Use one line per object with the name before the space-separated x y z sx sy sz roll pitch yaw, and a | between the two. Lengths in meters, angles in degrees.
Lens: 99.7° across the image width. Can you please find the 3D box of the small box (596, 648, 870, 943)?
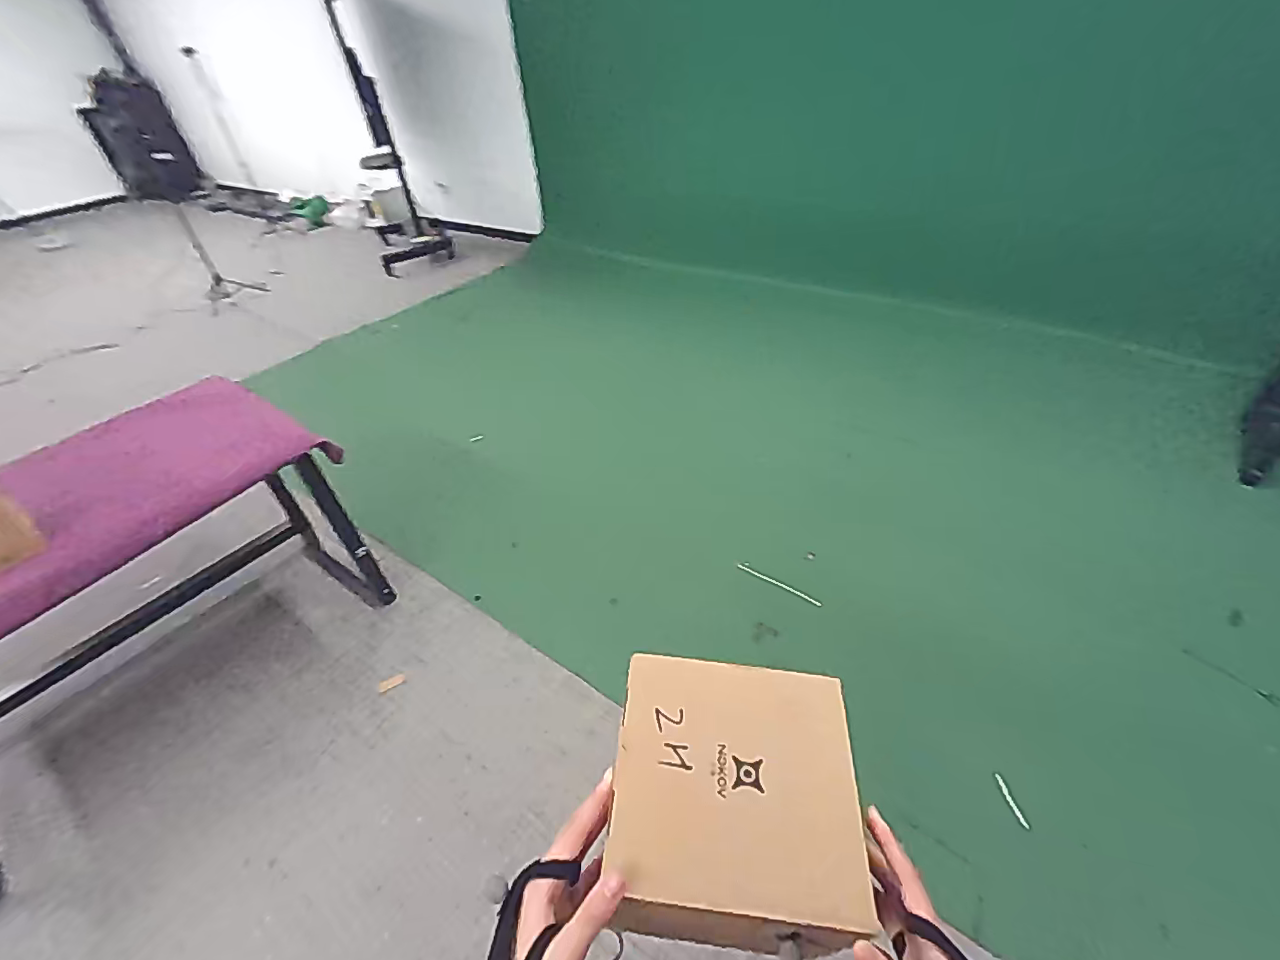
small box | 0.064 0.264 0.451 0.179 0.176 0.168 6 44 3
